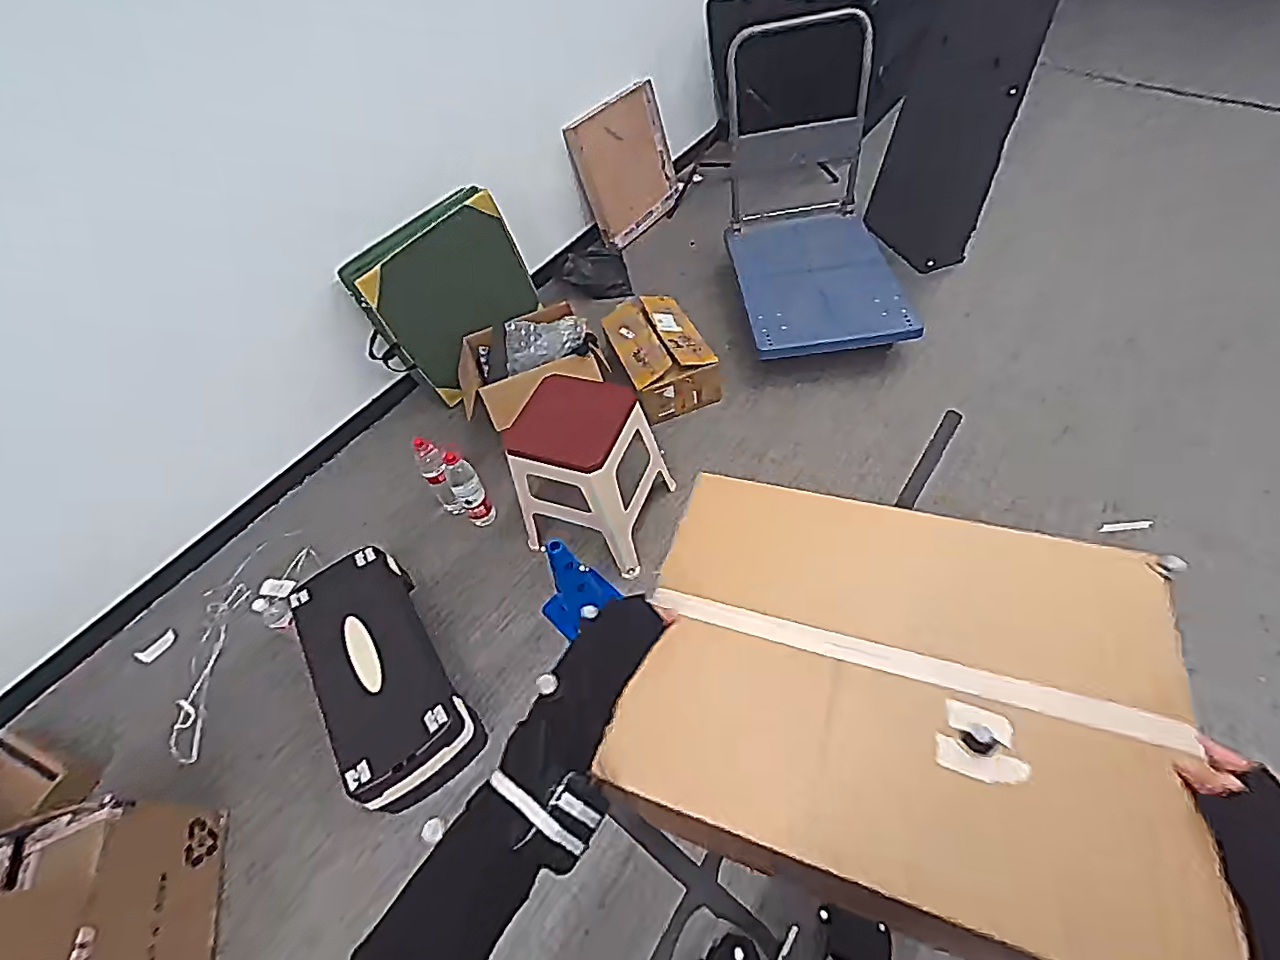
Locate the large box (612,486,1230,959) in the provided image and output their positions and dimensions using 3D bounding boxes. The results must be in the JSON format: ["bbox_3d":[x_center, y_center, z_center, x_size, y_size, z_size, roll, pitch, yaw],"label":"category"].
[{"bbox_3d":[0.231,0.250,0.567,0.408,0.320,0.320,12,55,20],"label":"large box"}]
